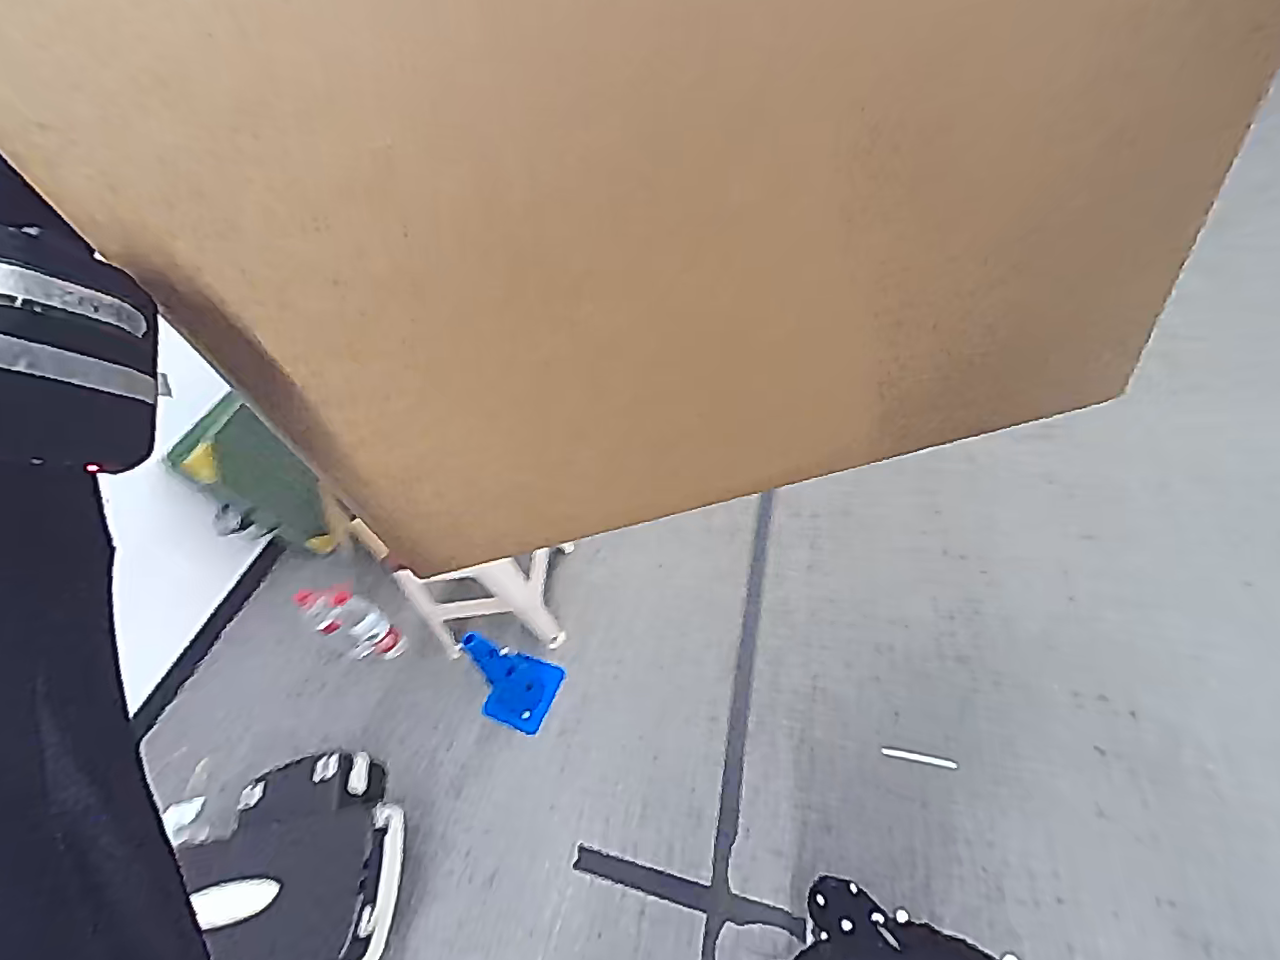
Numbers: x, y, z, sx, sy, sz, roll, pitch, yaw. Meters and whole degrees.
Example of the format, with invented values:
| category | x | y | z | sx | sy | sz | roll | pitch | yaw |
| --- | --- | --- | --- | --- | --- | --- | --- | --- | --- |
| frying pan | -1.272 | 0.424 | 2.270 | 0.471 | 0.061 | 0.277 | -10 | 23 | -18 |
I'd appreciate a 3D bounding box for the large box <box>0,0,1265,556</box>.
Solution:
| category | x | y | z | sx | sy | sz | roll | pitch | yaw |
| --- | --- | --- | --- | --- | --- | --- | --- | --- | --- |
| large box | 0.012 | -0.202 | 0.320 | 0.408 | 0.320 | 0.320 | -14 | 45 | 5 |
